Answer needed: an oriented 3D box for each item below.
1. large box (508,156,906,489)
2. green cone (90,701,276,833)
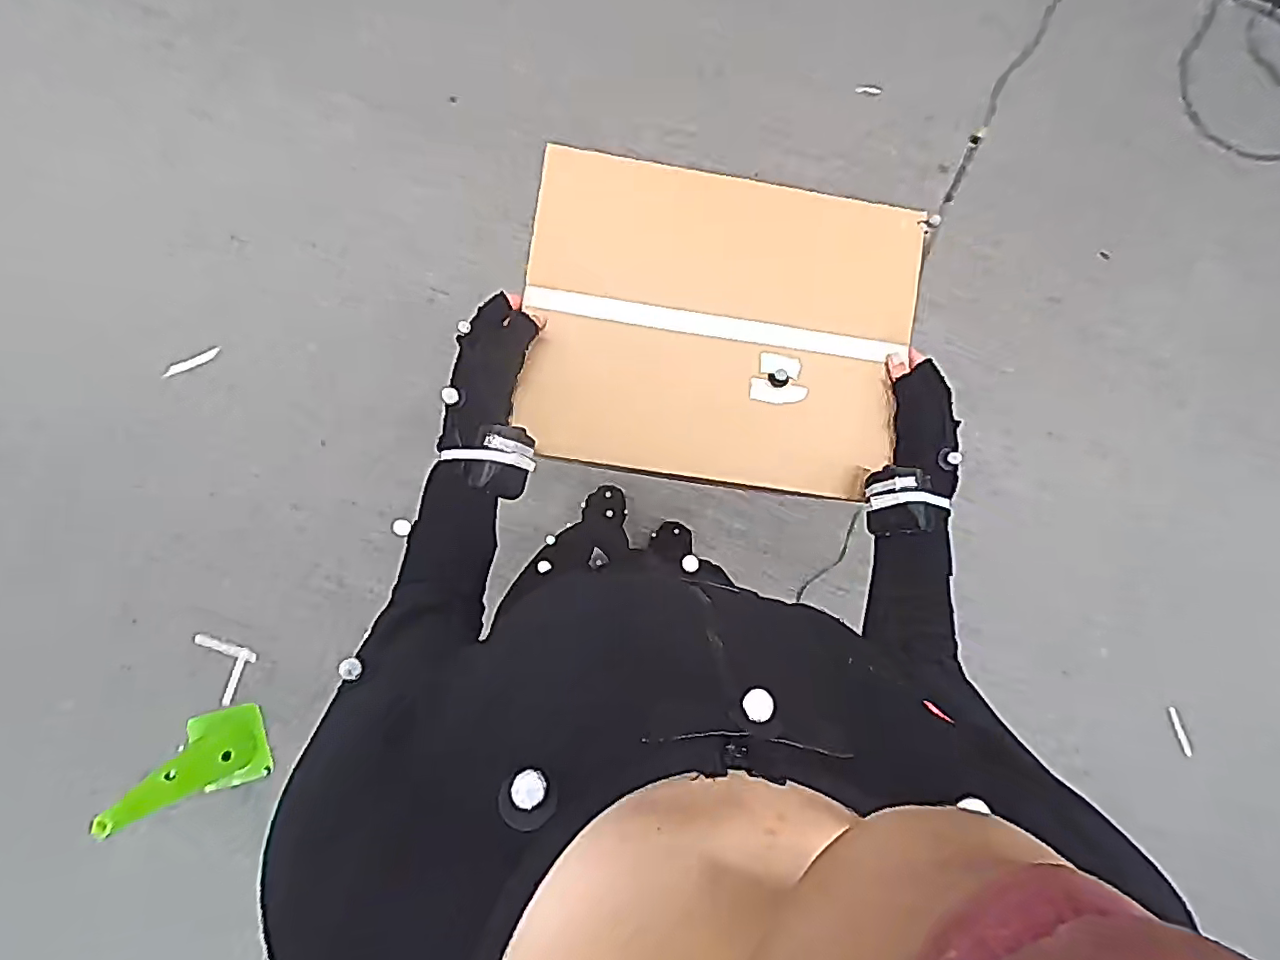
[{"bbox_3d":[0.064,-0.161,0.715,0.408,0.320,0.320,7,90,-4],"label":"large box"},{"bbox_3d":[-1.101,0.706,1.287,0.202,0.368,0.200,-16,88,1],"label":"green cone"}]
